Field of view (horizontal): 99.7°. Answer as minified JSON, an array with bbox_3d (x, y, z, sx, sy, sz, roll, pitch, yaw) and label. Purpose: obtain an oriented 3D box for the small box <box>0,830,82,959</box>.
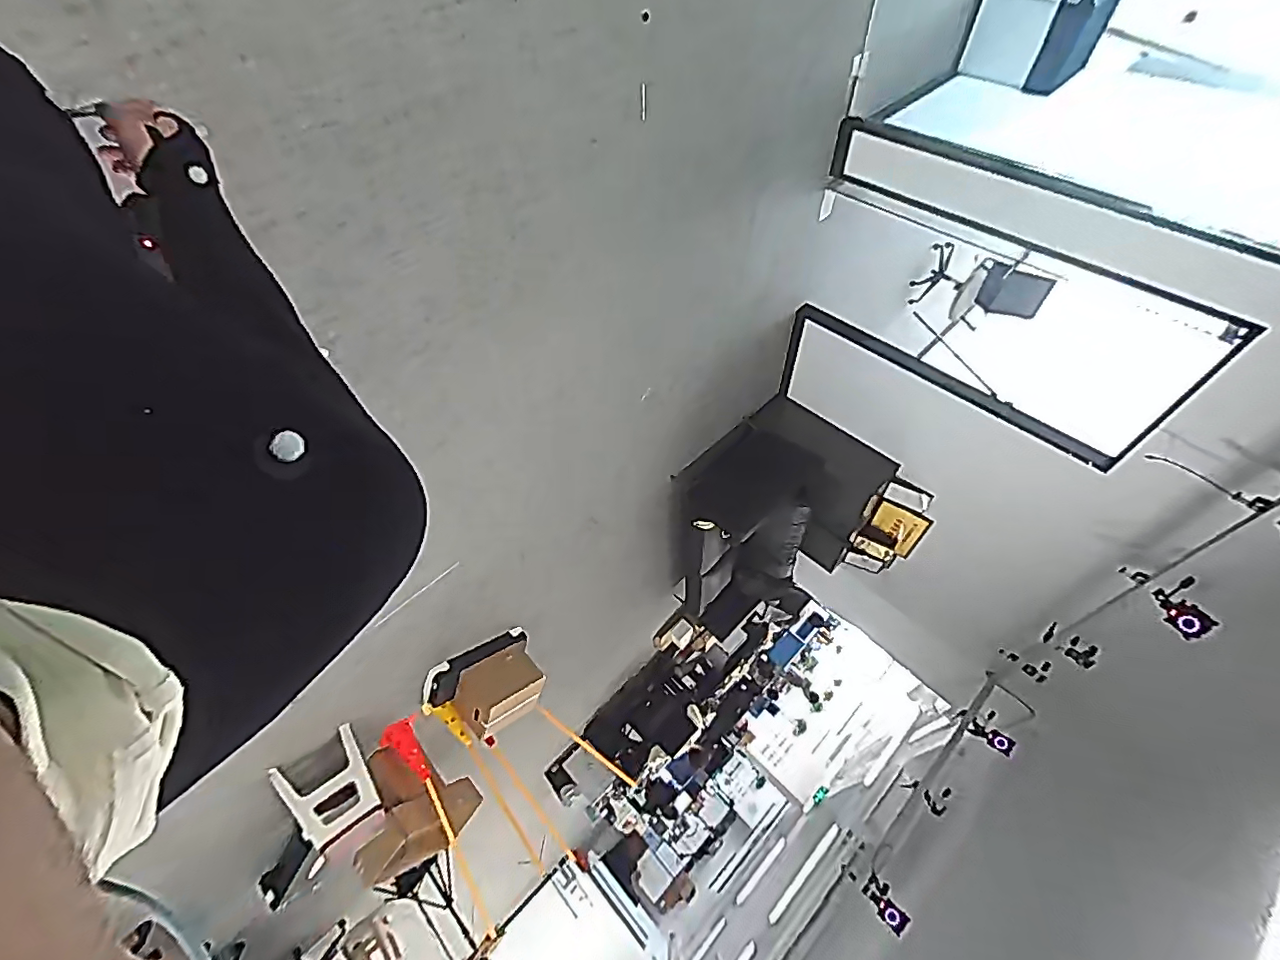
[{"bbox_3d":[-1.152,0.751,0.941,0.179,0.176,0.168,-42,153,-17],"label":"small box"}]
